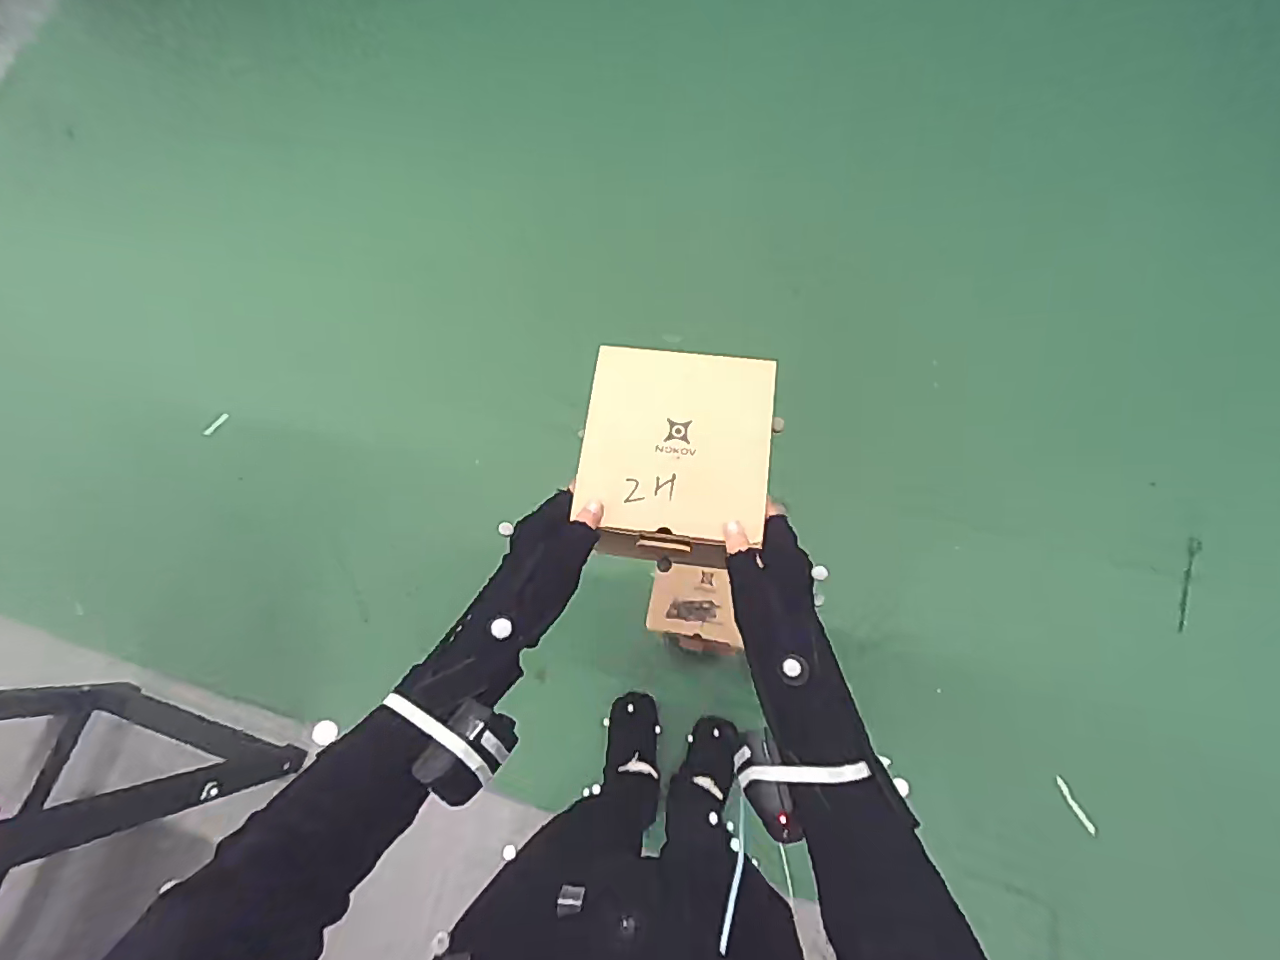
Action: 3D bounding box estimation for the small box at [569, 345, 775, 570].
[{"bbox_3d":[0.035,-0.013,0.554,0.168,0.176,0.179,7,75,6],"label":"small box"}]

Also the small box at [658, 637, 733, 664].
[{"bbox_3d":[0.146,0.313,1.251,0.168,0.176,0.179,14,75,11],"label":"small box"}]

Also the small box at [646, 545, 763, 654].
[{"bbox_3d":[0.114,0.200,0.944,0.168,0.176,0.179,9,72,8],"label":"small box"}]
